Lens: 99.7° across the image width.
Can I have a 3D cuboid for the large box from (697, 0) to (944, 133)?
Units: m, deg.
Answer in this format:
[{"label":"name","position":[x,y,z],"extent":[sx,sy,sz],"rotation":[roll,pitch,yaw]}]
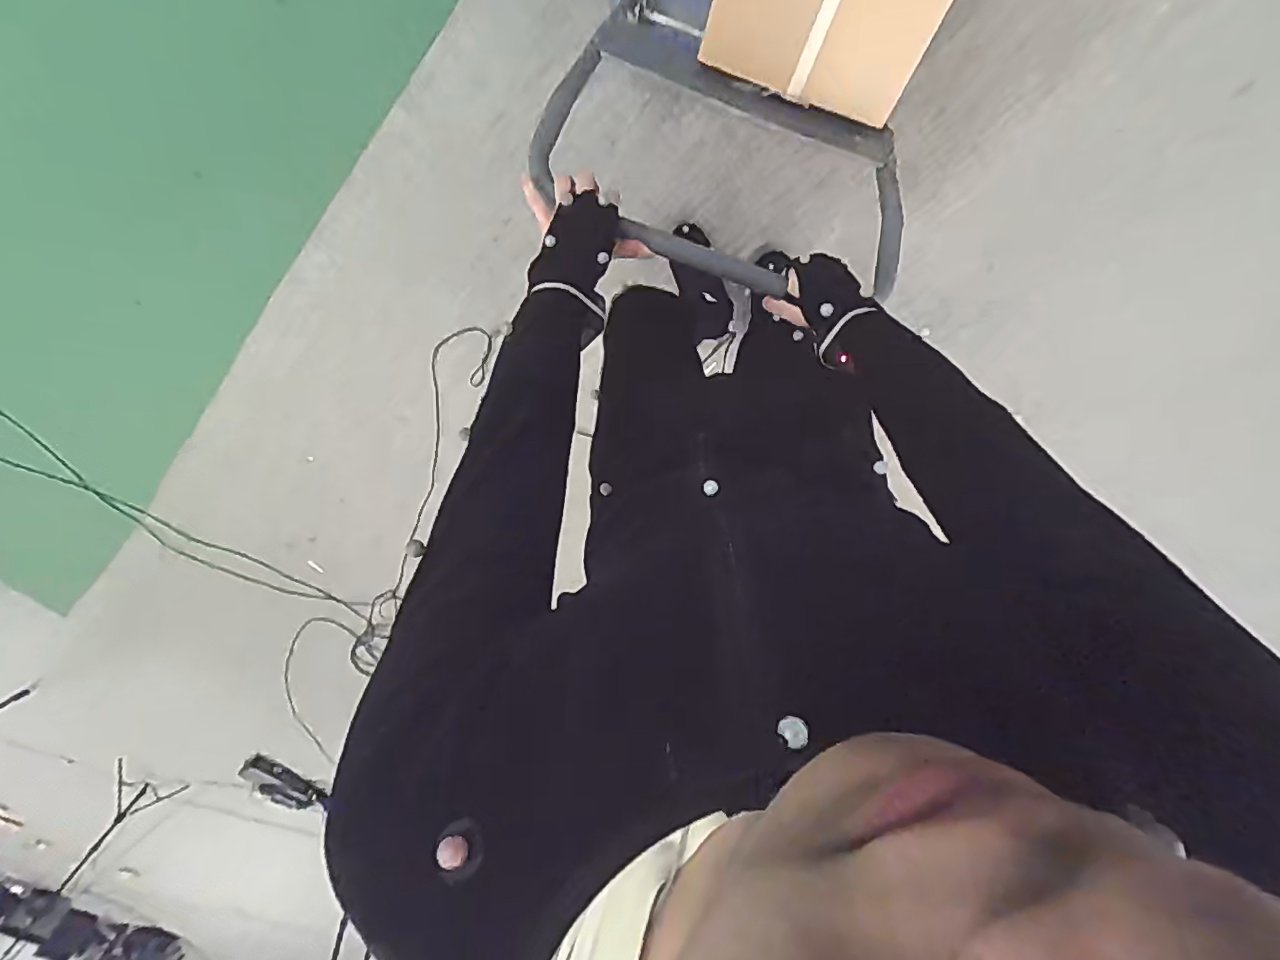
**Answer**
[{"label":"large box","position":[0.307,-0.832,0.807],"extent":[0.320,0.320,0.408],"rotation":[17,141,-5]}]
